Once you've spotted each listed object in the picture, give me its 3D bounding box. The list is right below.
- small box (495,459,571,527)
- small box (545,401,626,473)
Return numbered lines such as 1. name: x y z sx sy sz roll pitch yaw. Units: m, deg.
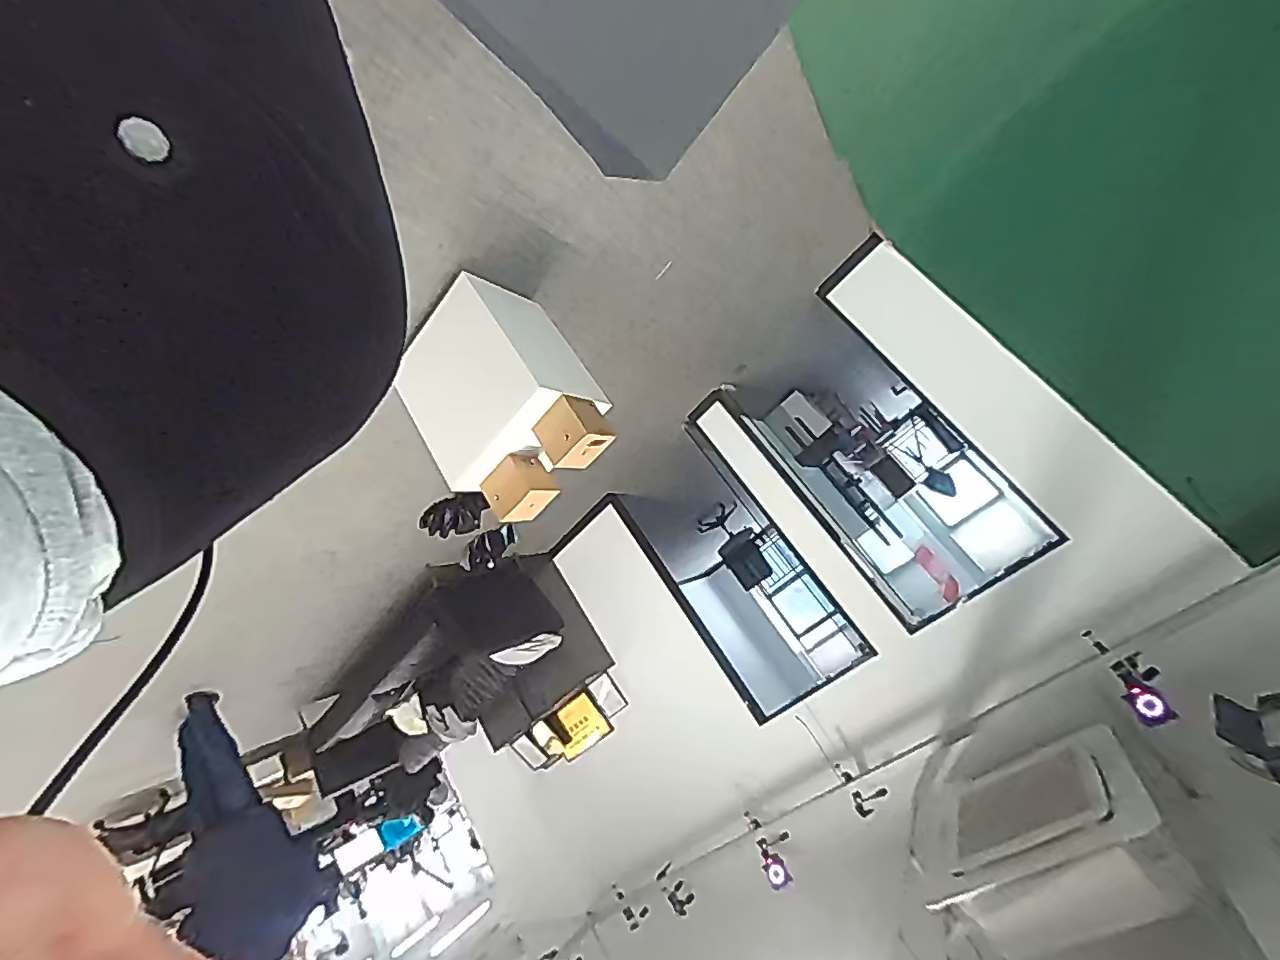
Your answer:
1. small box: -0.386 0.047 1.916 0.179 0.176 0.168 -45 158 21
2. small box: -0.186 -0.143 1.803 0.179 0.176 0.168 -43 158 26
